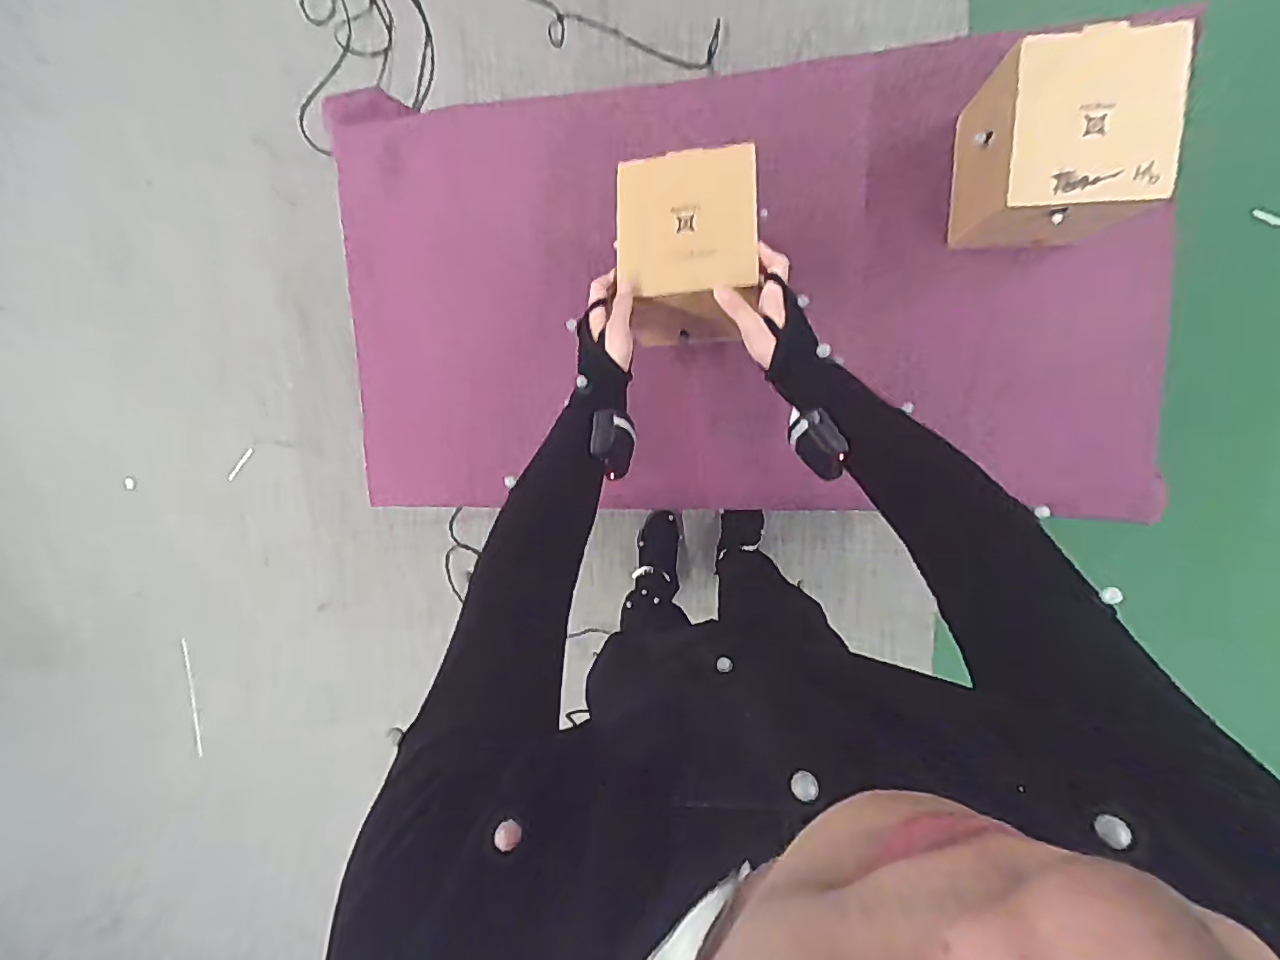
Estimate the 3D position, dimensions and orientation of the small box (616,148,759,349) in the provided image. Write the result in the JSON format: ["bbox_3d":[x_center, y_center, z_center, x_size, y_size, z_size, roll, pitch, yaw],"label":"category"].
[{"bbox_3d":[0.068,-0.287,0.704,0.168,0.176,0.179,-1,84,11],"label":"small box"}]

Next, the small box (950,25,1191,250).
[{"bbox_3d":[0.502,-0.398,0.659,0.168,0.176,0.179,2,97,9],"label":"small box"}]
